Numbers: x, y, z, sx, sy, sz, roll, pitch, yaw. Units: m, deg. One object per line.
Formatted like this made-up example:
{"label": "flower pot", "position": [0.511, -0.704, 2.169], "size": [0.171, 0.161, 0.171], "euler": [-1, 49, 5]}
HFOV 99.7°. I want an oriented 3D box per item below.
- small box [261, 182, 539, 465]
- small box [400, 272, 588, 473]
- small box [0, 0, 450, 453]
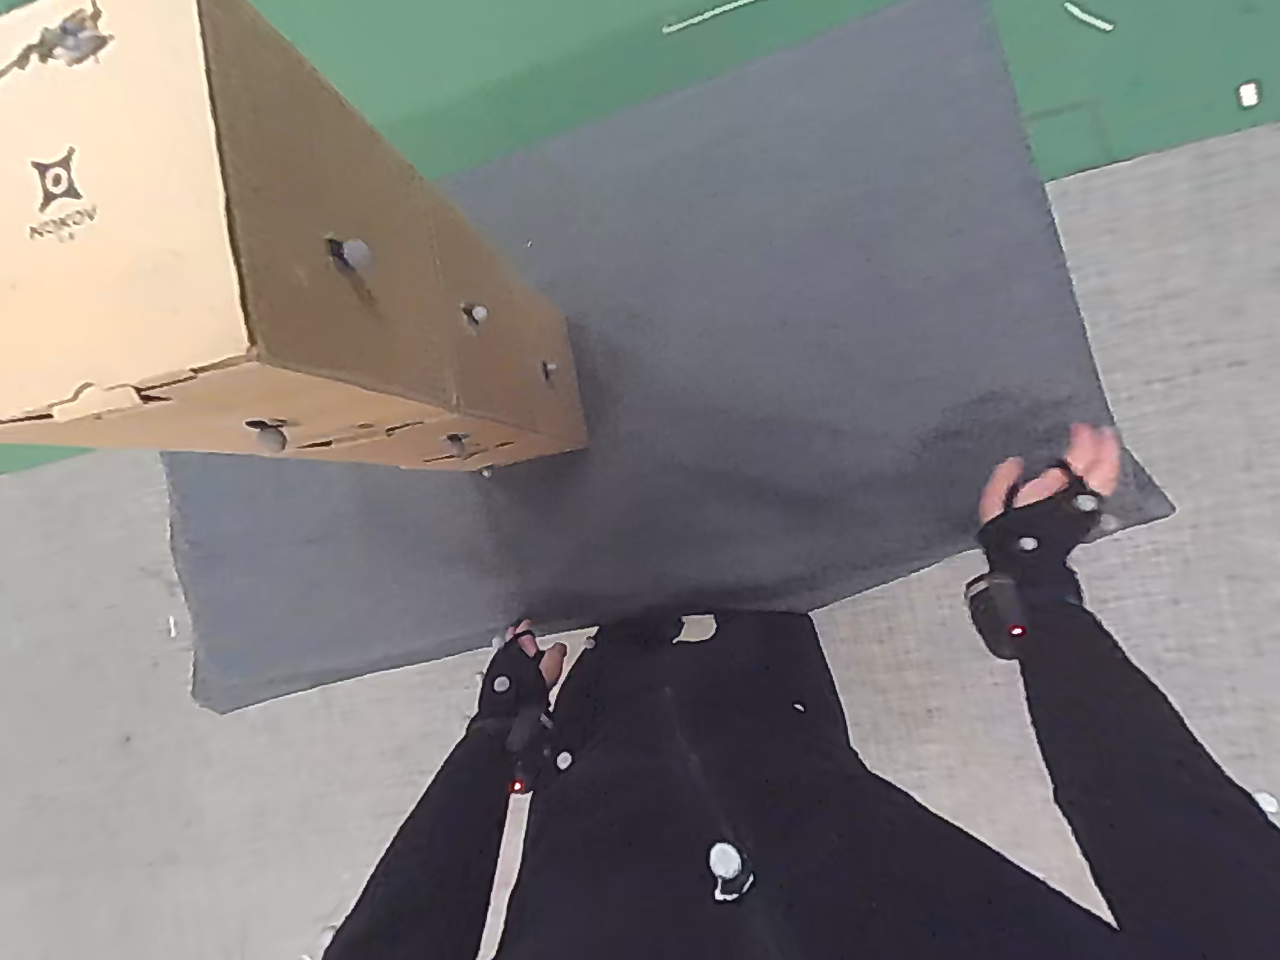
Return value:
{"label": "small box", "position": [-0.201, -0.110, 0.468], "size": [0.168, 0.176, 0.179], "euler": [-11, 87, 10]}
{"label": "small box", "position": [-0.170, -0.107, 0.627], "size": [0.168, 0.176, 0.179], "euler": [-12, 87, 11]}
{"label": "small box", "position": [-0.230, -0.113, 0.307], "size": [0.168, 0.176, 0.179], "euler": [-11, 89, 9]}
